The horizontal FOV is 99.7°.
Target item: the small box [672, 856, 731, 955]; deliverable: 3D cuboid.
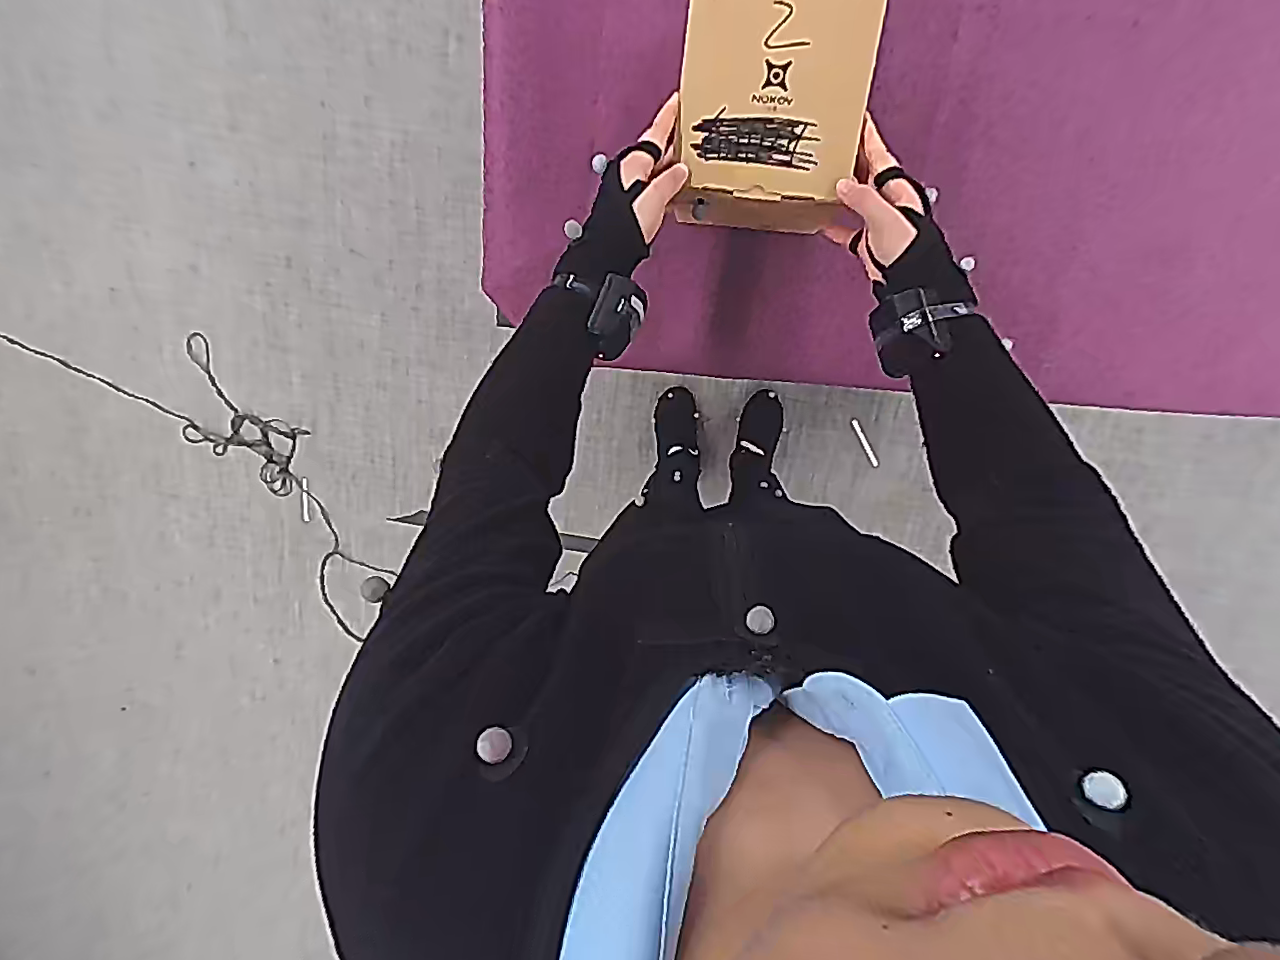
[{"bbox_3d":[0.194,1.336,1.709,0.168,0.176,0.179,6,105,7],"label":"small box"}]
